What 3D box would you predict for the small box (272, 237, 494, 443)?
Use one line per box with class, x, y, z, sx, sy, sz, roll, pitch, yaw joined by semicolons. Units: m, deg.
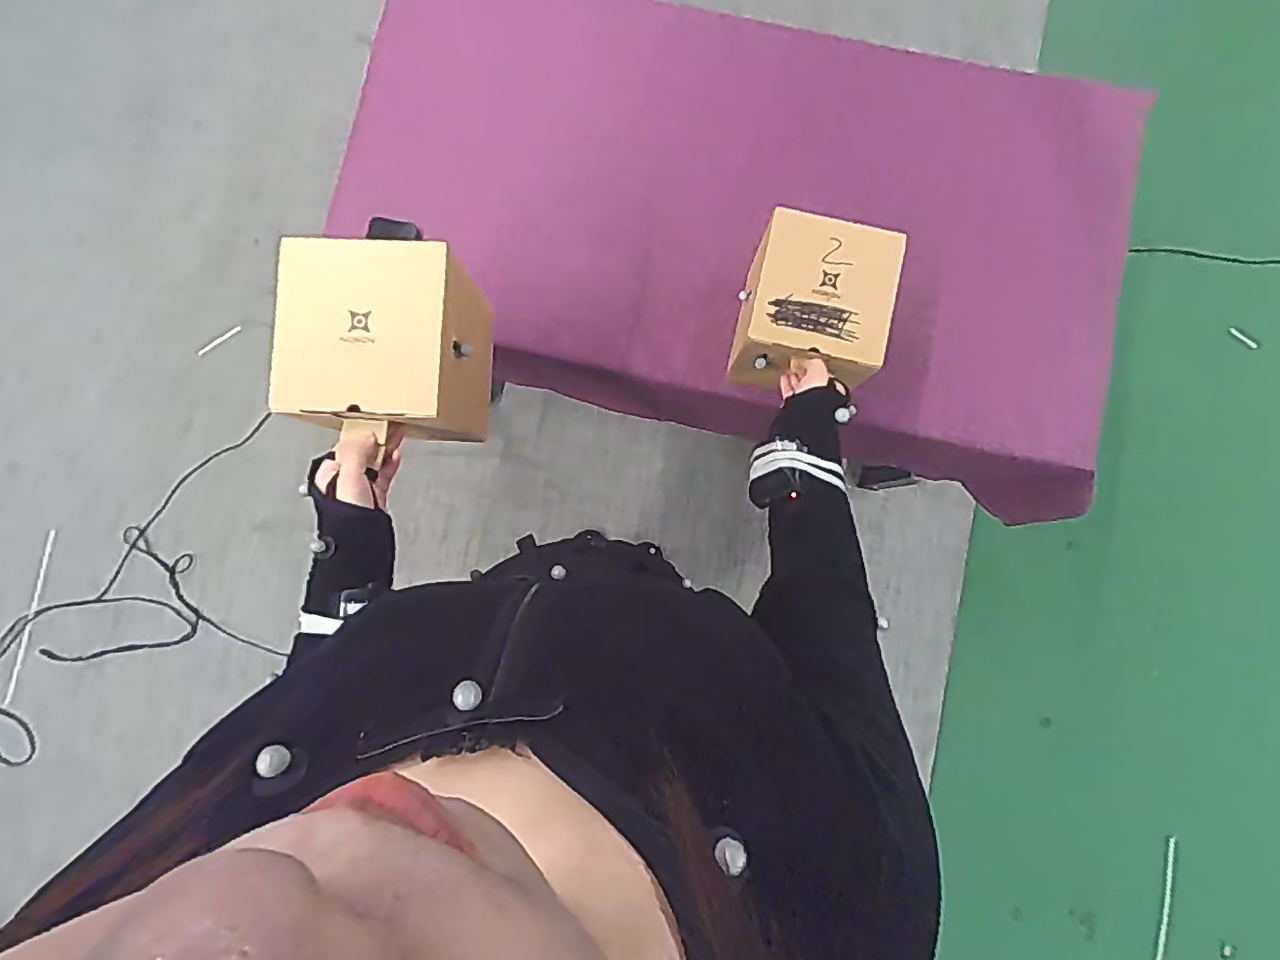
small box;-0.267;-0.143;0.603;0.168;0.176;0.179;3;87;0
